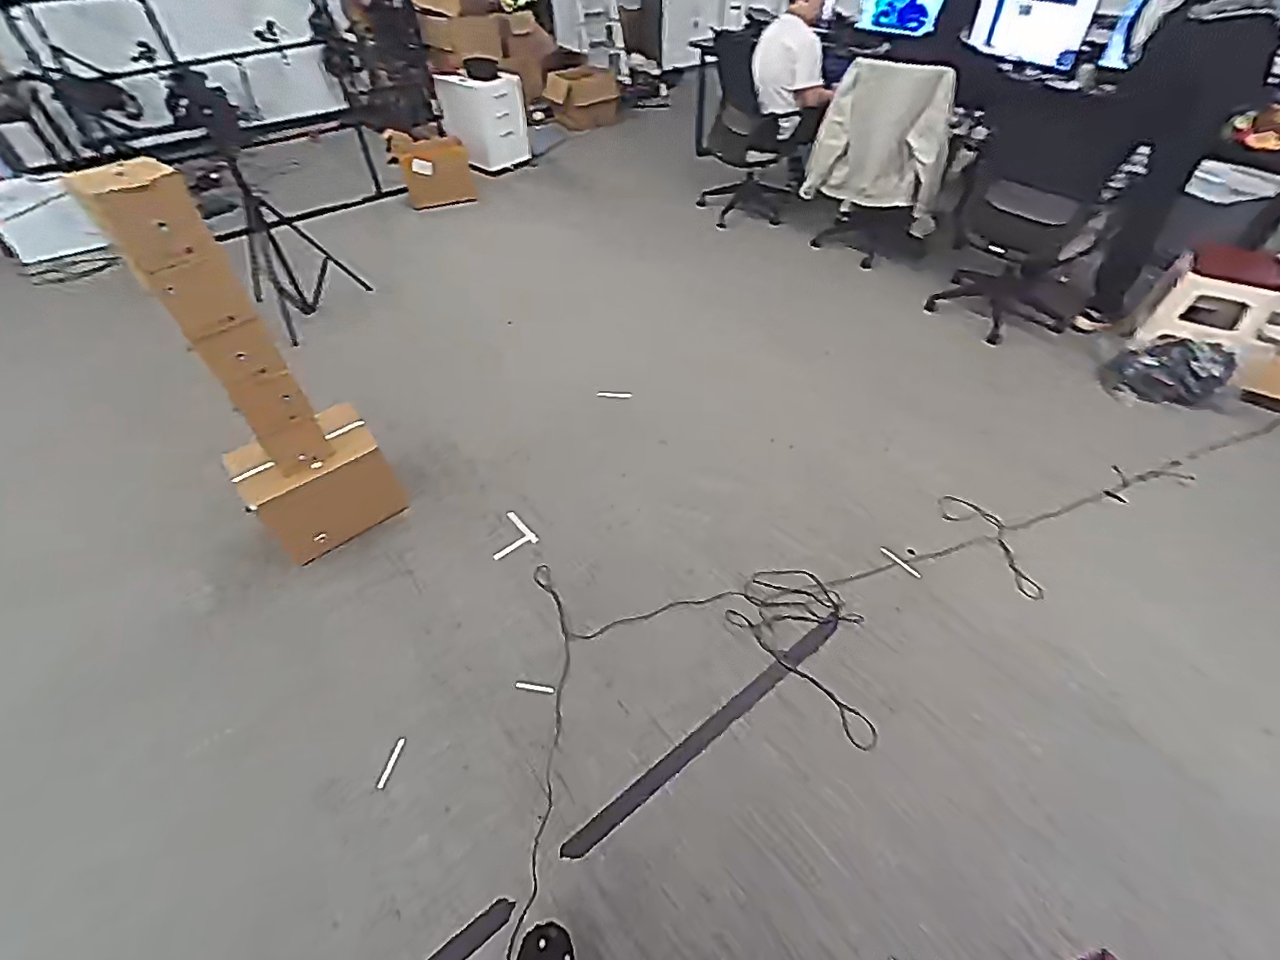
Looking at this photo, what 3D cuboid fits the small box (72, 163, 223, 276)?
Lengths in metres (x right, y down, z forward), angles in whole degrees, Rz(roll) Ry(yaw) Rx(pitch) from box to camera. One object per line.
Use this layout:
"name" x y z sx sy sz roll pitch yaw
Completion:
"small box" -1.090 -0.579 1.211 0.179 0.176 0.168 32 54 25

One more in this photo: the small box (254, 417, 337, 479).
"small box" -1.088 -0.136 1.693 0.168 0.176 0.179 -33 55 -26

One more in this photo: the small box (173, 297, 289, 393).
"small box" -1.091 -0.358 1.453 0.179 0.176 0.168 35 55 28

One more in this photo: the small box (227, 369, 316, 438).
"small box" -1.083 -0.246 1.573 0.168 0.176 0.179 -34 54 -28
